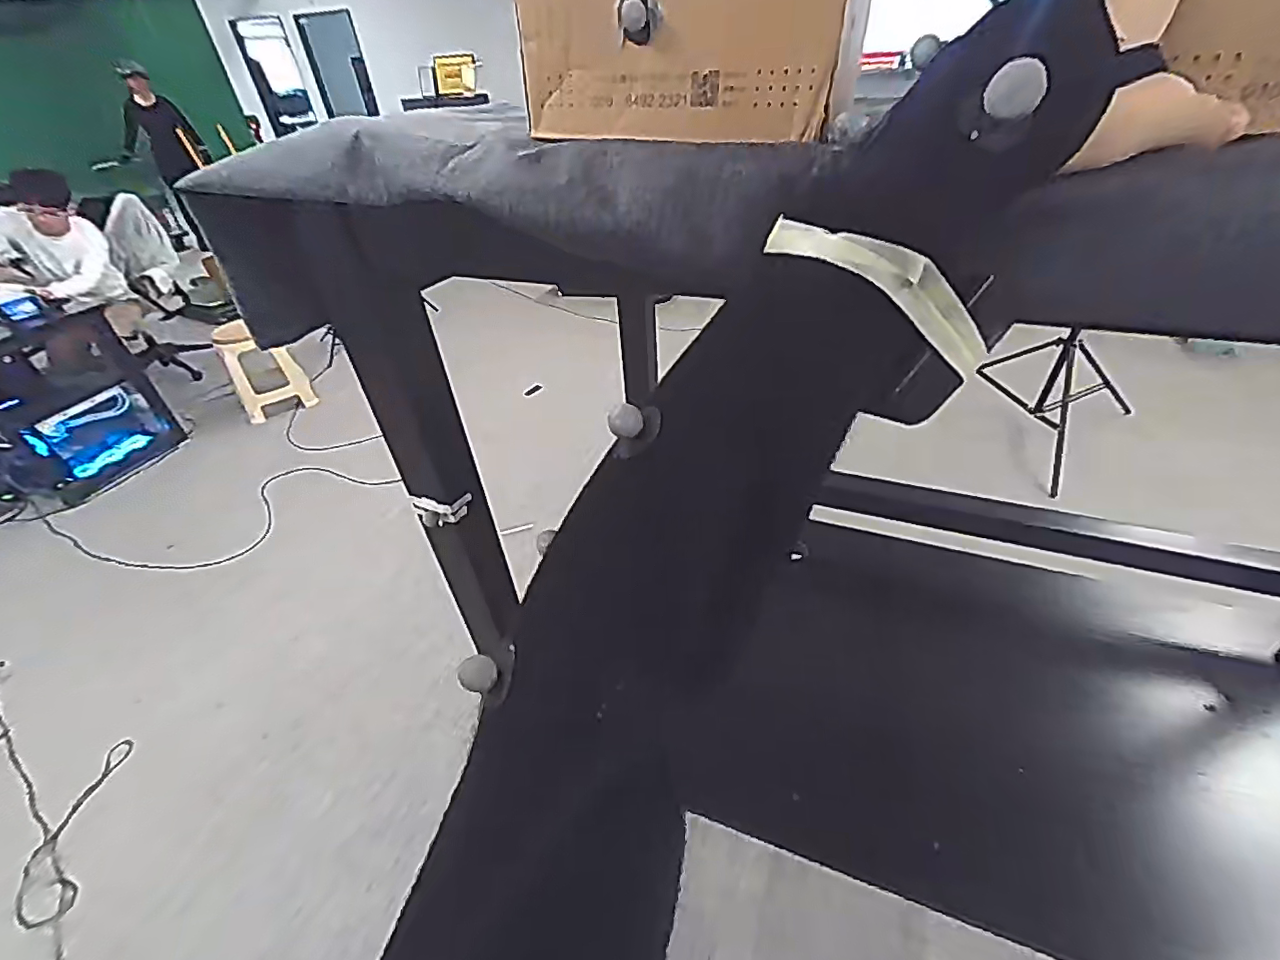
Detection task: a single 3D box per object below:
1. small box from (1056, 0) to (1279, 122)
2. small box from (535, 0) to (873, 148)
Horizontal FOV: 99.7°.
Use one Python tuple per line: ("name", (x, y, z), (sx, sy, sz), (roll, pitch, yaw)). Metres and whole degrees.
("small box", (0.299, -0.245, 0.211), (0.168, 0.176, 0.179), (12, 40, 20))
("small box", (0.045, -0.295, 0.300), (0.168, 0.176, 0.179), (12, 40, 17))
